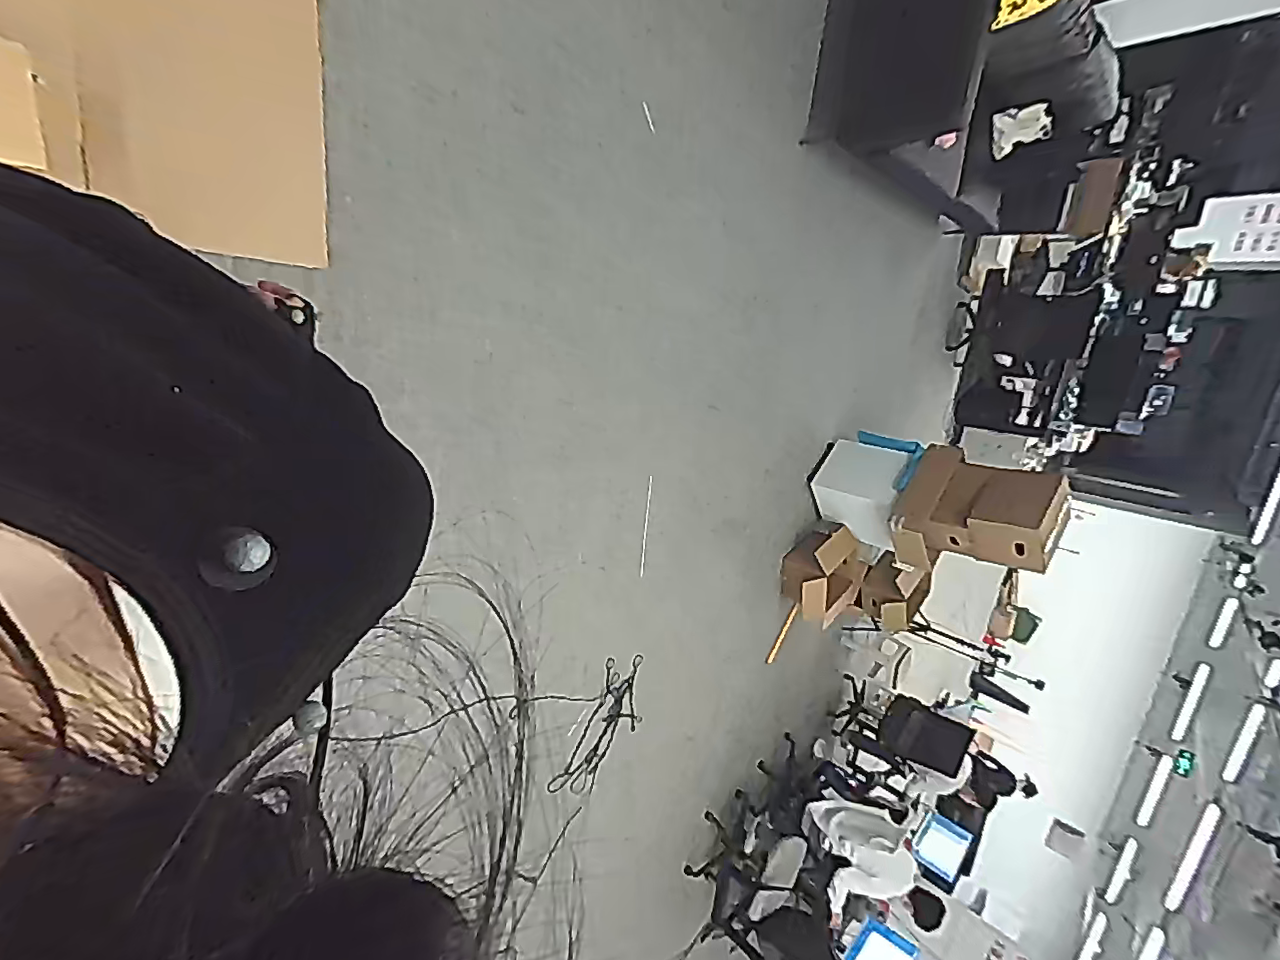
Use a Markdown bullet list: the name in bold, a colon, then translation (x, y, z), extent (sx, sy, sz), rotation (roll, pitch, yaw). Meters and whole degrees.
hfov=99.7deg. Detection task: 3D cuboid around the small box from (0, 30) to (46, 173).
- **small box**: translation (-1.044, -0.590, 0.826), extent (0.168, 0.176, 0.179), rotation (-11, 112, -45)
